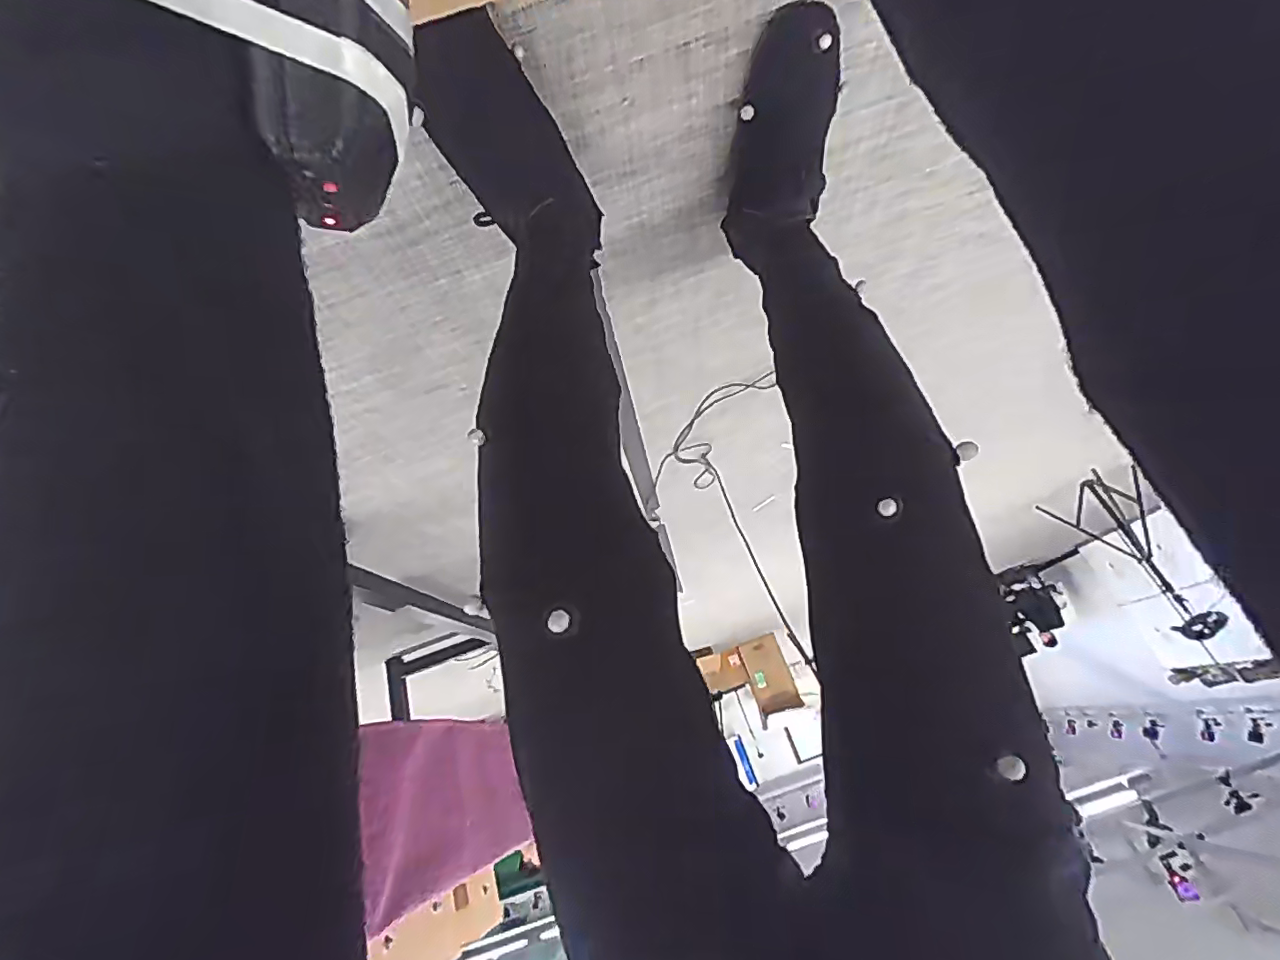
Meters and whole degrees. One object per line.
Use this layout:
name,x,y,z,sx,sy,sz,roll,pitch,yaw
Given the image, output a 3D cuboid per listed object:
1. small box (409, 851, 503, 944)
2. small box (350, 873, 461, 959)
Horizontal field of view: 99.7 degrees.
small box,-0.496,1.131,1.458,0.179,0.176,0.168,-21,155,2
small box,-0.539,1.037,1.239,0.179,0.176,0.168,-23,155,4
